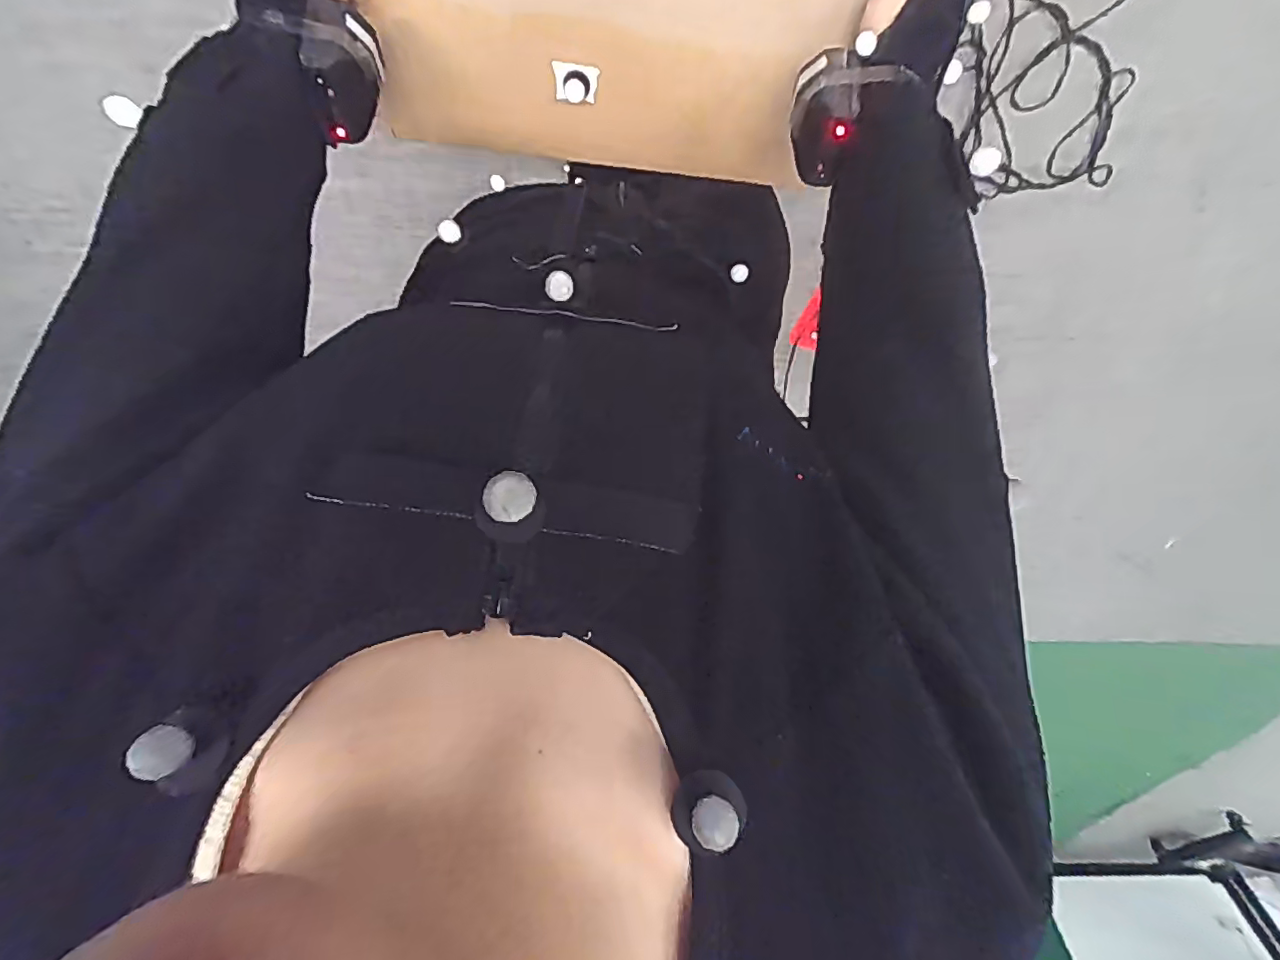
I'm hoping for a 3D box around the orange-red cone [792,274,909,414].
[{"bbox_3d":[0.484,-0.255,1.139,0.199,0.360,0.198,16,129,-14],"label":"orange-red cone"}]
